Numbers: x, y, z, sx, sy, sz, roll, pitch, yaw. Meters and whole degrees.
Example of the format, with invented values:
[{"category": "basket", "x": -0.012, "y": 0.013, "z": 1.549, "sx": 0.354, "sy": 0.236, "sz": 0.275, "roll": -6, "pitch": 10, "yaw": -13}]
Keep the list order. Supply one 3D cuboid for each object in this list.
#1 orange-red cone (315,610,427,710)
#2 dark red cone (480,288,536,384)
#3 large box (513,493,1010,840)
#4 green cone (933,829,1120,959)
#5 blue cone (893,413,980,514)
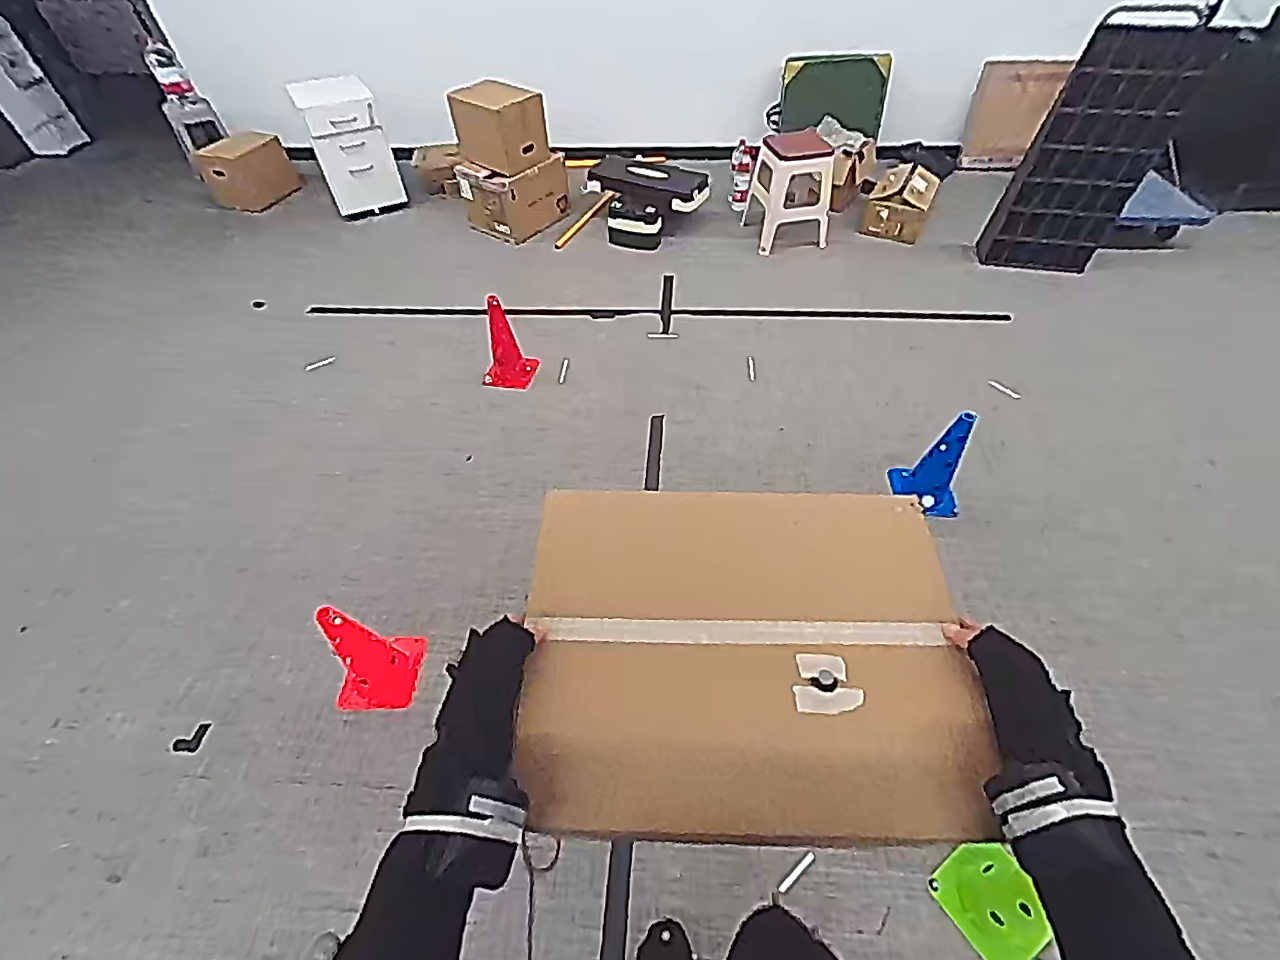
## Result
[{"category": "orange-red cone", "x": -0.704, "y": 0.422, "z": 1.350, "sx": 0.198, "sy": 0.360, "sz": 0.199, "roll": -1, "pitch": 51, "yaw": 2}, {"category": "dark red cone", "x": -0.556, "y": -0.581, "z": 2.164, "sx": 0.201, "sy": 0.394, "sz": 0.202, "roll": 7, "pitch": 50, "yaw": 6}, {"category": "large box", "x": 0.095, "y": 0.228, "z": 0.631, "sx": 0.408, "sy": 0.320, "sz": 0.320, "roll": 1, "pitch": 55, "yaw": 1}, {"category": "green cone", "x": 0.753, "y": 0.771, "z": 1.005, "sx": 0.202, "sy": 0.368, "sz": 0.200, "roll": -27, "pitch": 55, "yaw": -22}, {"category": "blue cone", "x": 0.974, "y": -0.067, "z": 1.732, "sx": 0.192, "sy": 0.380, "sz": 0.193, "roll": 5, "pitch": 50, "yaw": 4}]
